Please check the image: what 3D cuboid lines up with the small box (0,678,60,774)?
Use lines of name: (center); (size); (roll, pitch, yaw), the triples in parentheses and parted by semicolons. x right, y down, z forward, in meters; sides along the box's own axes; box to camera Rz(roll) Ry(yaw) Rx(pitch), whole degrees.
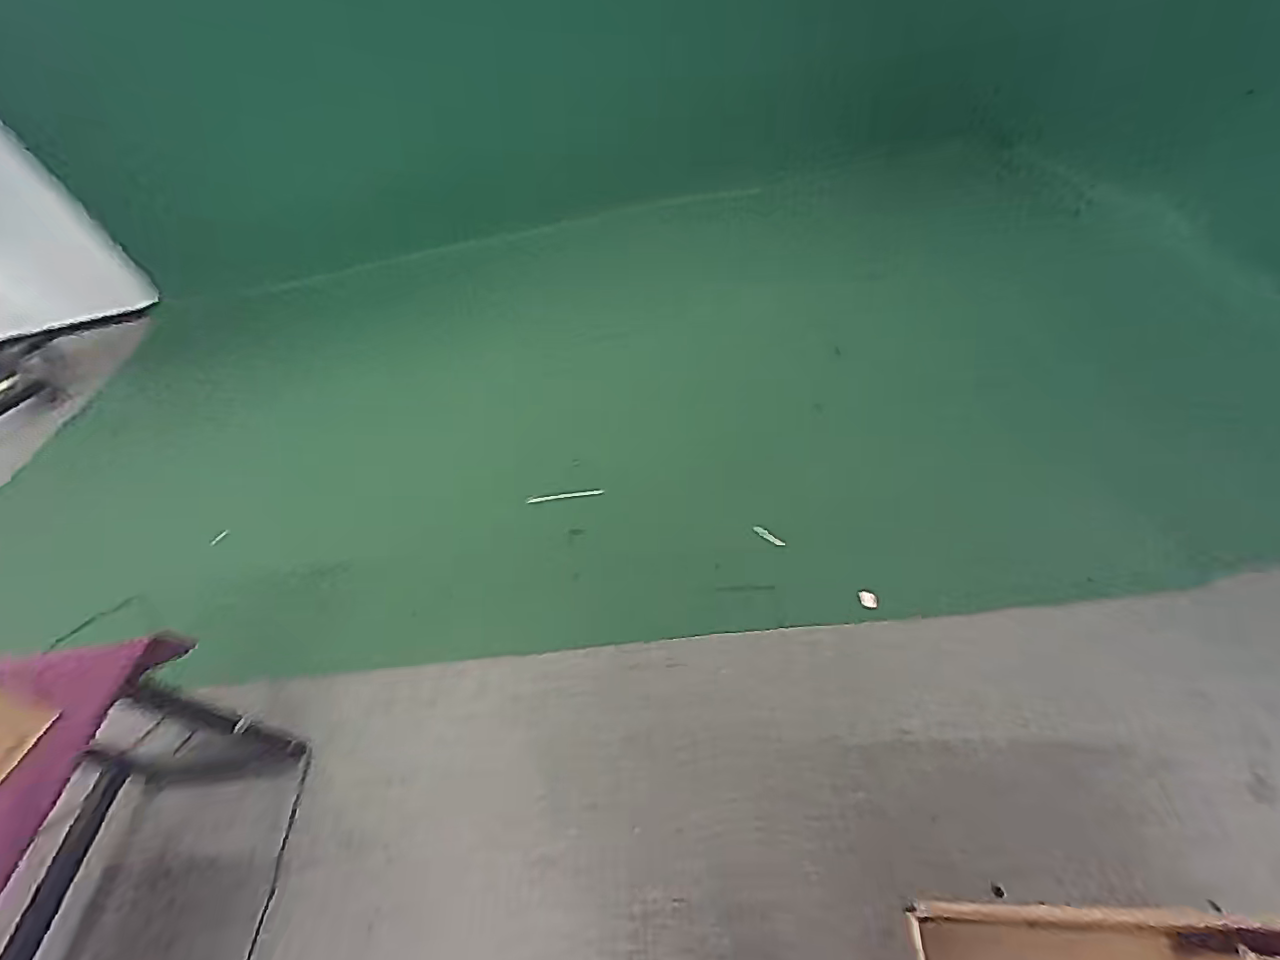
small box: (-1.265, 0.456, 1.004); (0.179, 0.176, 0.168); (6, 54, 22)
